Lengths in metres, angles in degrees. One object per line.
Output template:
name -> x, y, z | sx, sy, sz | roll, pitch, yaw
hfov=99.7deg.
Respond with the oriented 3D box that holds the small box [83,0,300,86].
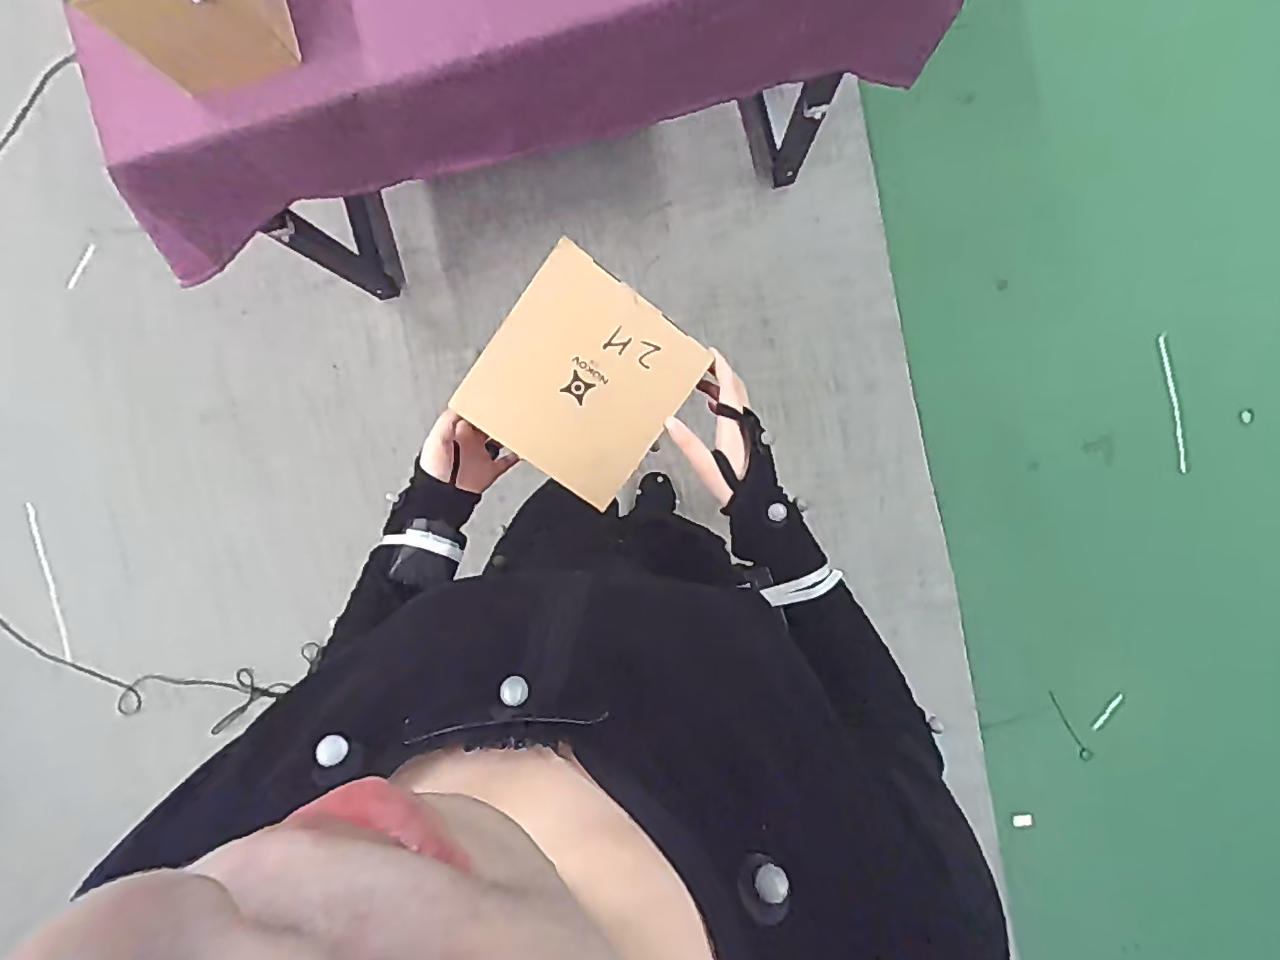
small box -> -0.578, -0.644, 0.681 | 0.179, 0.176, 0.168 | -14, 91, 1
